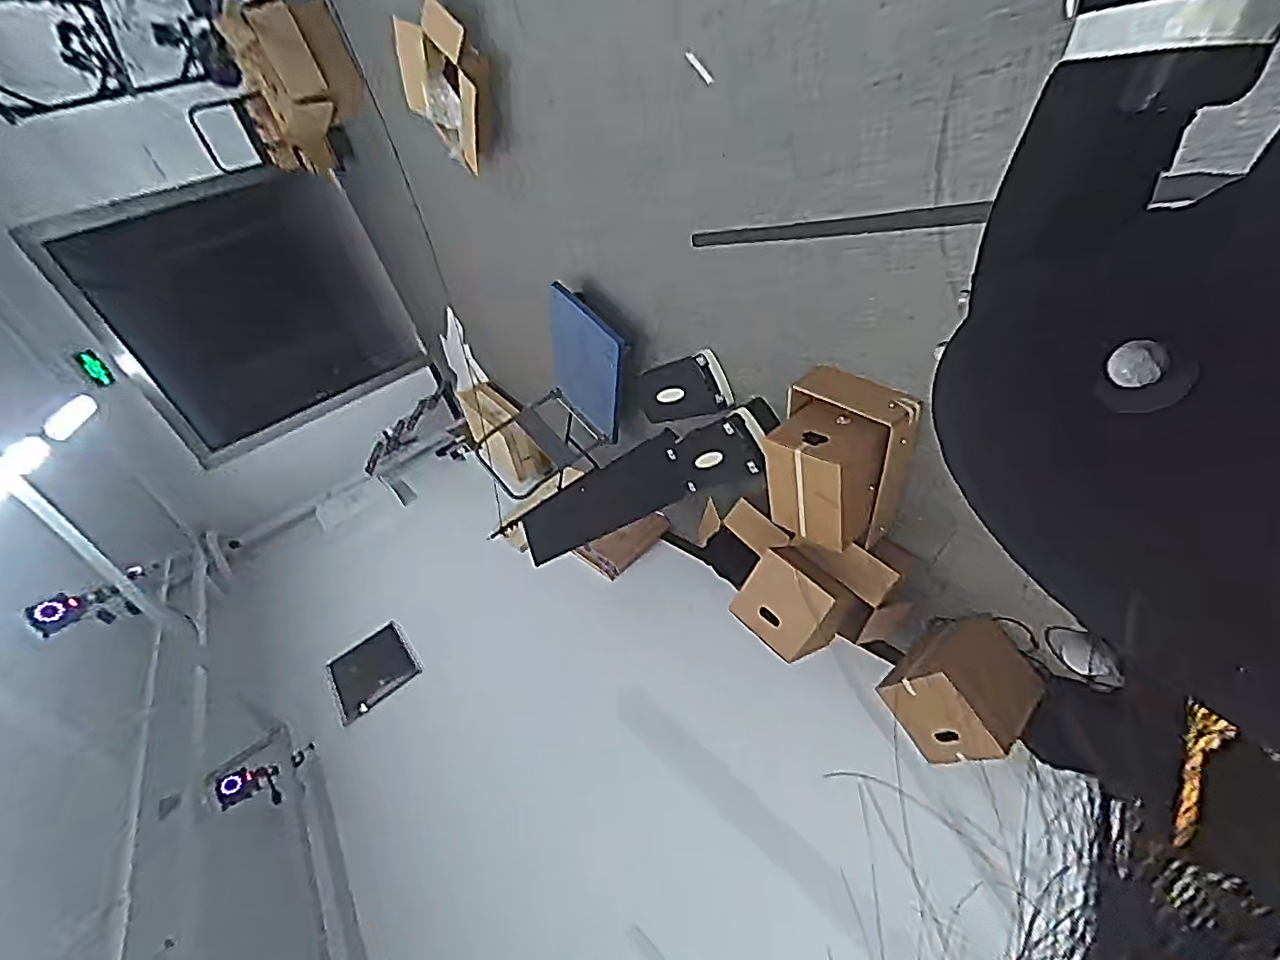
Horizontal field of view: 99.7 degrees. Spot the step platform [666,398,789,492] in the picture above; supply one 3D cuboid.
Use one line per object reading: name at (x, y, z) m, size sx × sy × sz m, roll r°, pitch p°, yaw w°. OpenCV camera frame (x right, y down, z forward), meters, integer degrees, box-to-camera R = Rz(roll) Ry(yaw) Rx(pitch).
step platform at (0.386, -0.143, 2.579) m, size 0.286 × 0.204 × 0.684 m, roll 57°, pitch 154°, yaw -4°
